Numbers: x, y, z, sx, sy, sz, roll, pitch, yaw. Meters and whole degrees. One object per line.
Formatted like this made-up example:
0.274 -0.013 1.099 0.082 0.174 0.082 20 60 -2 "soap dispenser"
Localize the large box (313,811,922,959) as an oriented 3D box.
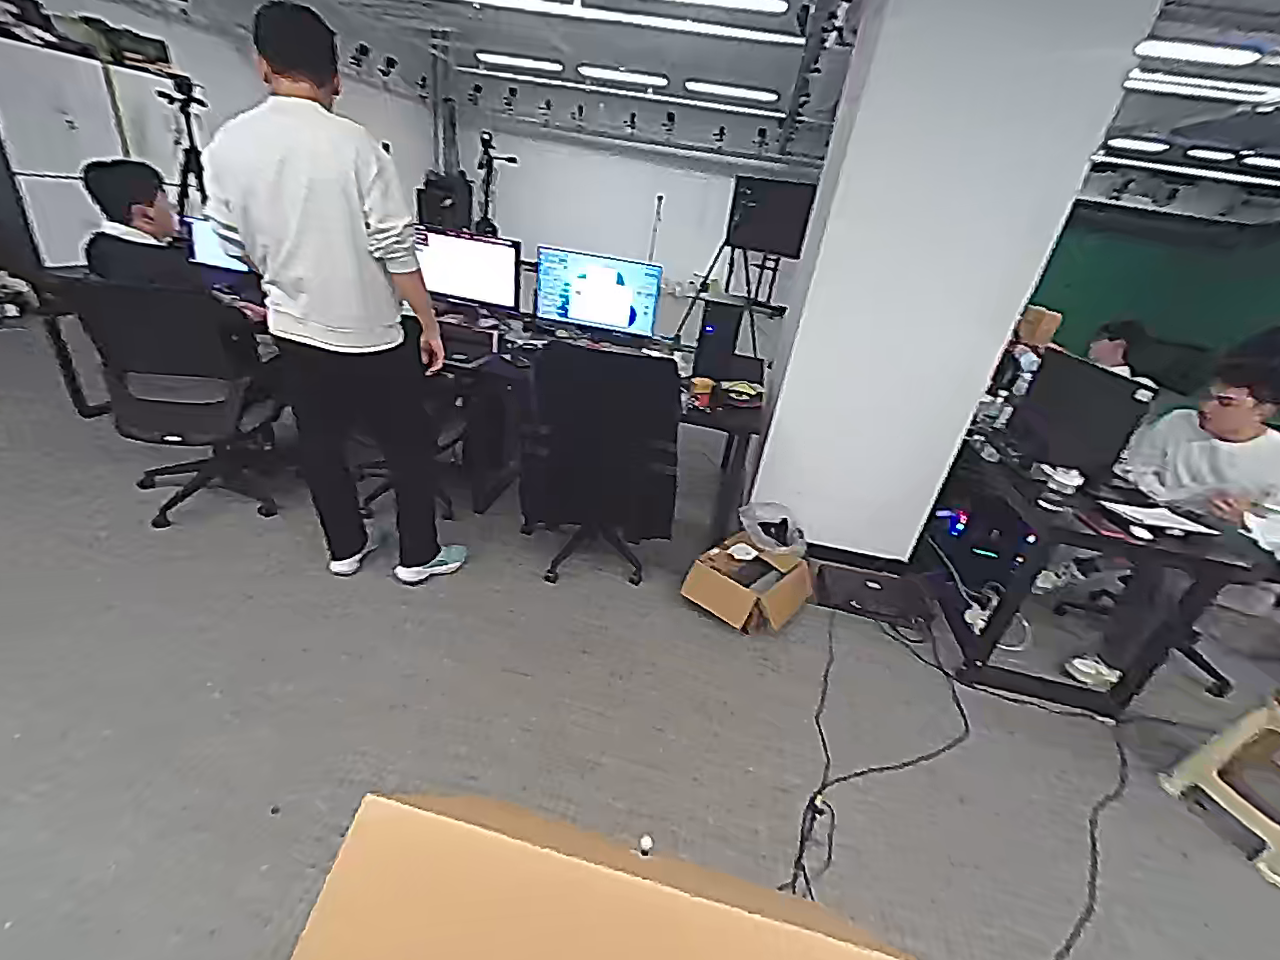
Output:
-0.035 0.479 0.421 0.408 0.320 0.320 12 61 7 "large box"
